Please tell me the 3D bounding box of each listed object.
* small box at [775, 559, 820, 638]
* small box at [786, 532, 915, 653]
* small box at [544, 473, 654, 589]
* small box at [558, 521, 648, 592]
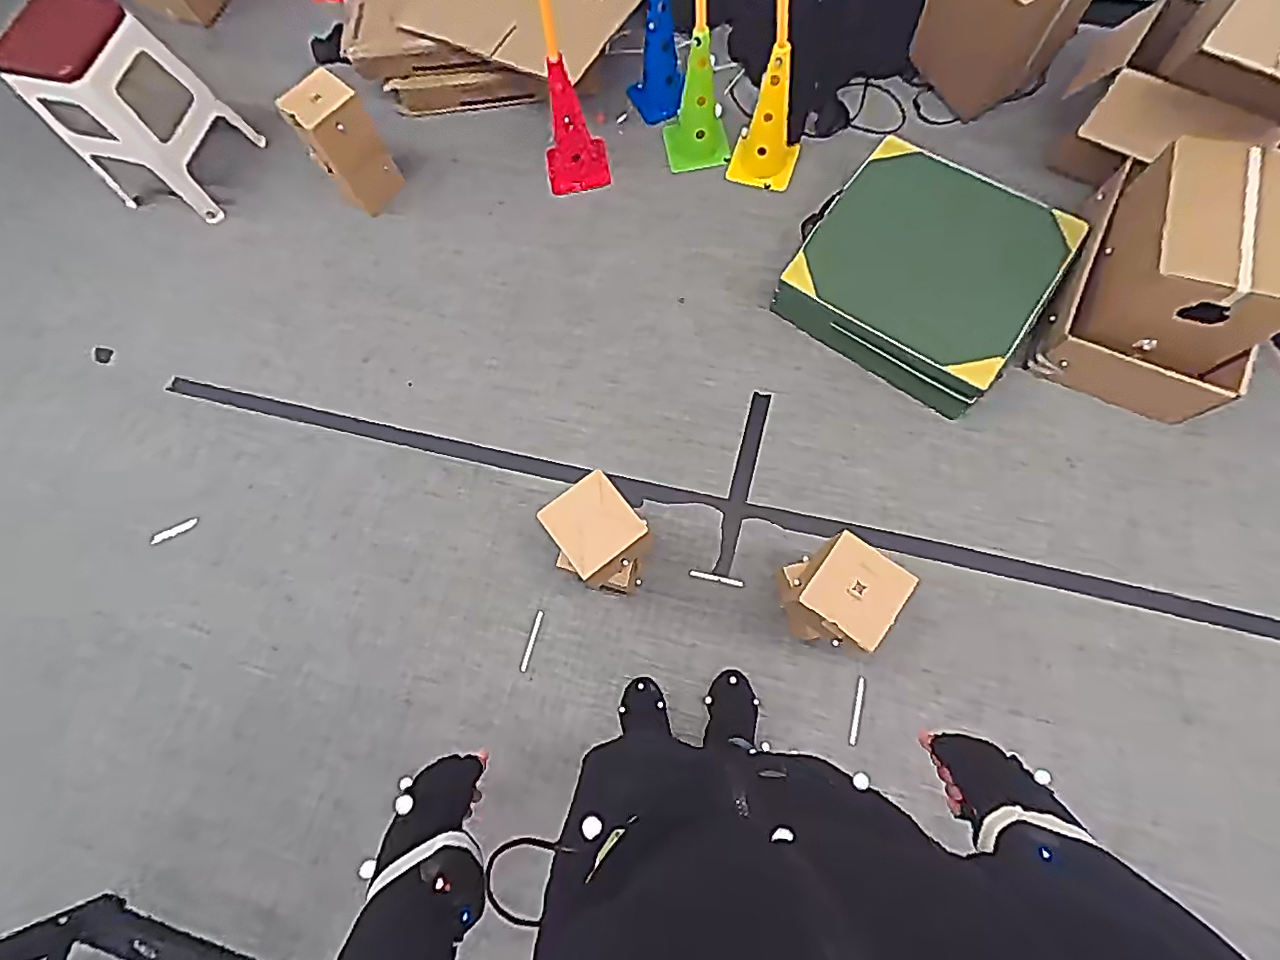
[{"bbox_3d":[0.431,0.272,1.281,0.179,0.176,0.168,-16,74,0],"label":"small box"},{"bbox_3d":[0.422,0.237,1.122,0.168,0.176,0.179,37,79,11],"label":"small box"},{"bbox_3d":[-0.090,0.114,1.191,0.168,0.176,0.179,-38,73,-8],"label":"small box"},{"bbox_3d":[-0.082,0.174,1.348,0.179,0.176,0.168,15,74,9],"label":"small box"}]
